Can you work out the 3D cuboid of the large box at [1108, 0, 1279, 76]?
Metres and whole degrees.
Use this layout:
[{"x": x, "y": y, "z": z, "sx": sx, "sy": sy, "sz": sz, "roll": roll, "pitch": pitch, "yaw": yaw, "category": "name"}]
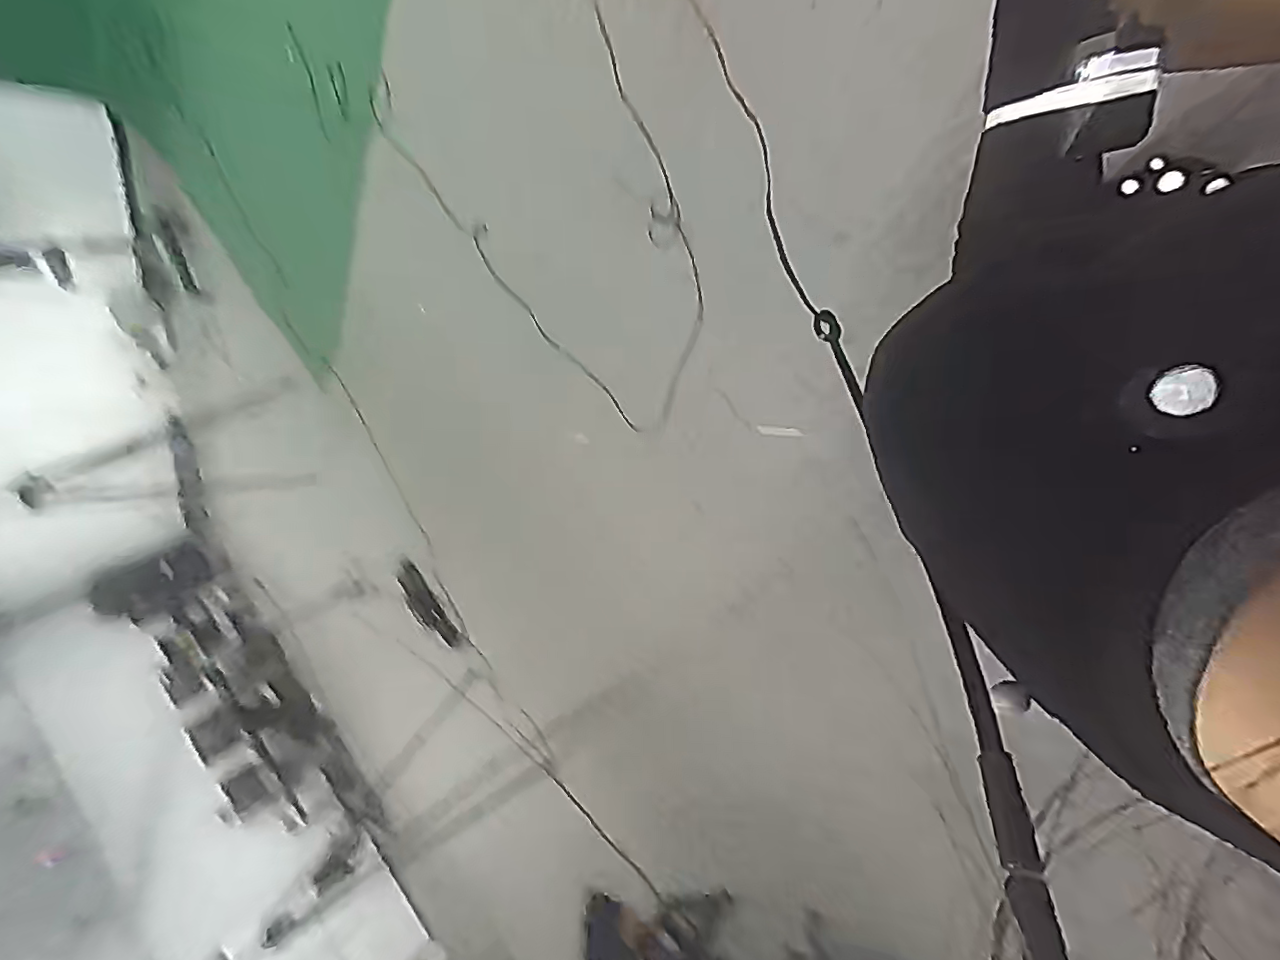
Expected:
[{"x": 0.522, "y": -0.417, "z": 0.244, "sx": 0.408, "sy": 0.320, "sz": 0.320, "roll": 20, "pitch": 122, "yaw": 34, "category": "large box"}]
